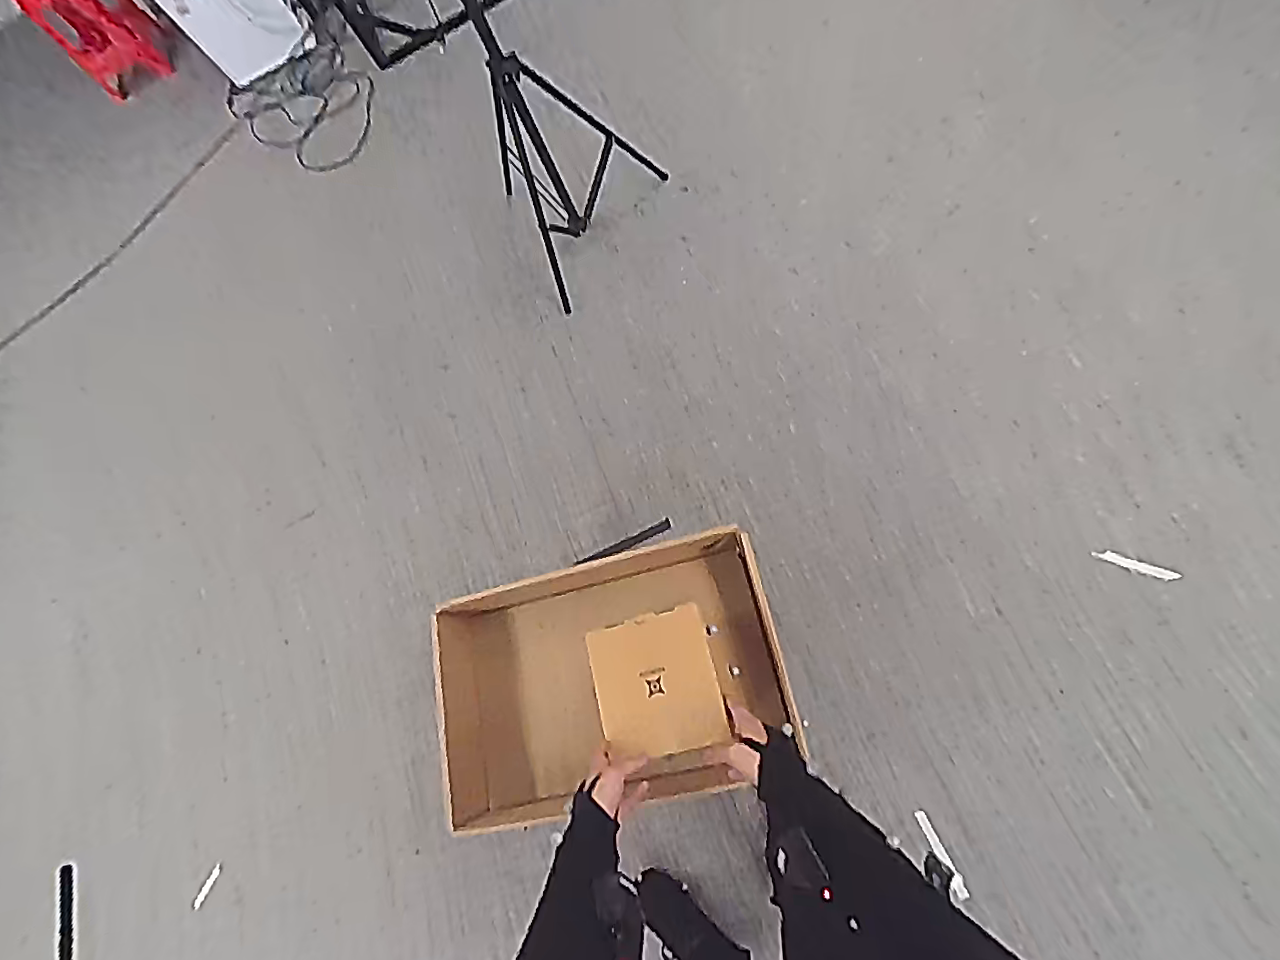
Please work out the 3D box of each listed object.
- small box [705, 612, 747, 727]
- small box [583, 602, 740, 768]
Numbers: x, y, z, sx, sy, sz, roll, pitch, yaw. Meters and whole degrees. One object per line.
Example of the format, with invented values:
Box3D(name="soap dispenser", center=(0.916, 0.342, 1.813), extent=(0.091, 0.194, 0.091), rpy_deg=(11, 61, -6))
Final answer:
Box3D(name="small box", center=(0.077, 0.337, 0.926), extent=(0.168, 0.176, 0.179), rpy_deg=(-19, 68, 8))
Box3D(name="small box", center=(0.038, 0.287, 0.776), extent=(0.168, 0.176, 0.179), rpy_deg=(-18, 68, 8))
